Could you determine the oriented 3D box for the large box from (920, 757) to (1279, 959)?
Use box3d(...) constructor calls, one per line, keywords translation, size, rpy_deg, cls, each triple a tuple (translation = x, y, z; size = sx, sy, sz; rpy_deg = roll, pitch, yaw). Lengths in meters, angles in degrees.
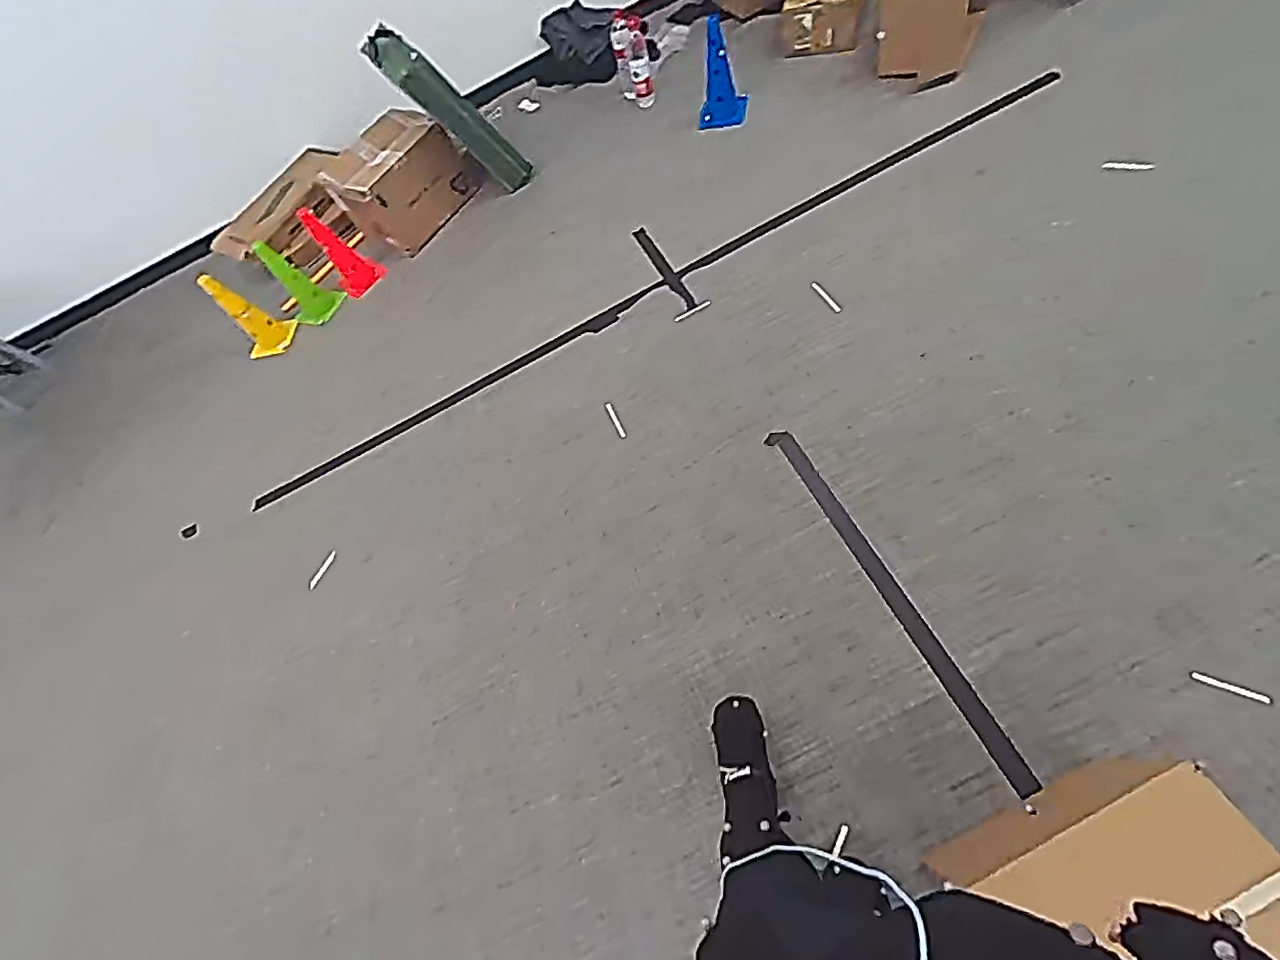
box3d(translation=(0.750, 0.704, 0.873), size=(0.408, 0.320, 0.320), rpy_deg=(-29, 60, -2), cls="large box")
